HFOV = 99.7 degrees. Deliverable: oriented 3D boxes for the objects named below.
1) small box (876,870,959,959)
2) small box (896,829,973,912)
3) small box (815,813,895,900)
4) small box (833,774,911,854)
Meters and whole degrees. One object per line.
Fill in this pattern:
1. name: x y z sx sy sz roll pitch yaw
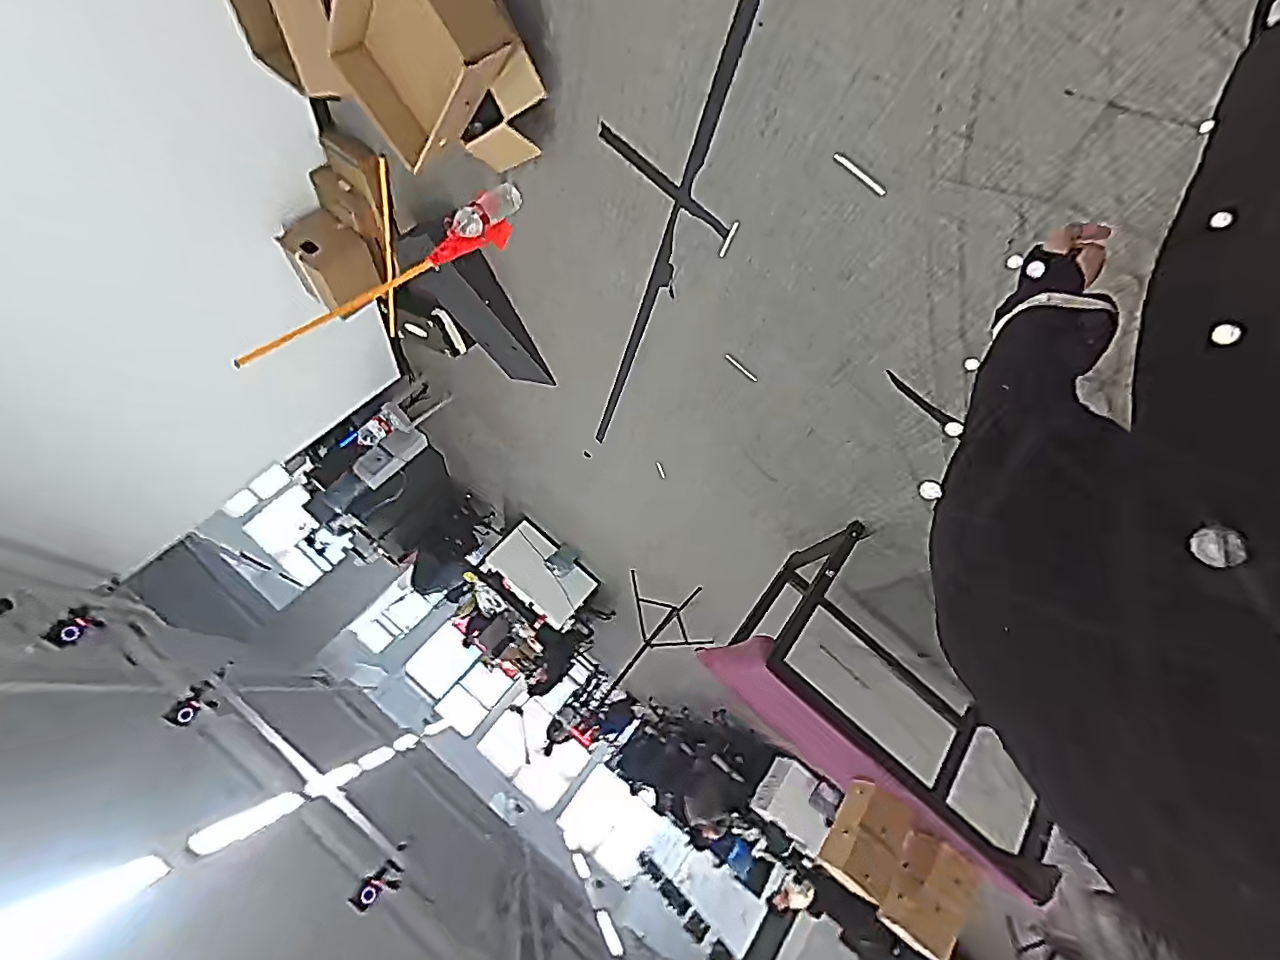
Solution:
1. small box: 1.000 1.557 1.949 0.179 0.176 0.168 39 156 9
2. small box: 1.099 1.440 2.009 0.168 0.176 0.179 40 156 7
3. small box: 0.779 1.354 1.956 0.179 0.176 0.168 42 155 4
4. small box: 0.875 1.250 2.034 0.179 0.176 0.168 41 156 6
